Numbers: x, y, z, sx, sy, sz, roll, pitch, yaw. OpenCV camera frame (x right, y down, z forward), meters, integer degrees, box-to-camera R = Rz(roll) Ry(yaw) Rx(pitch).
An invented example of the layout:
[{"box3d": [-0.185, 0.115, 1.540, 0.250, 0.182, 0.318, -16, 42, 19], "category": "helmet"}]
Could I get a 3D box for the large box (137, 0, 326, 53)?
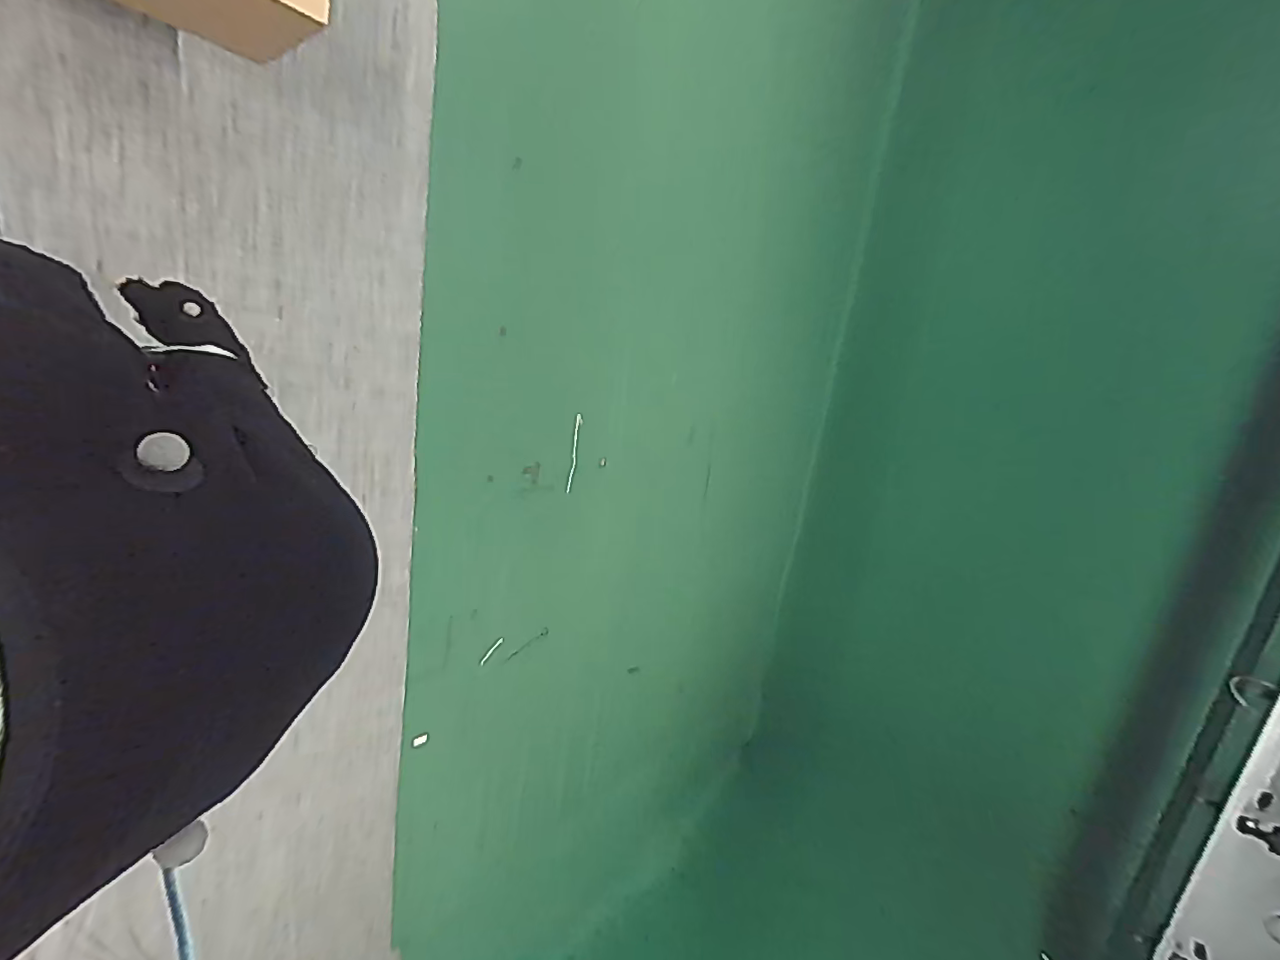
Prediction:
[{"box3d": [-0.701, -0.885, 0.746, 0.408, 0.320, 0.320, -6, 110, -50], "category": "large box"}]
